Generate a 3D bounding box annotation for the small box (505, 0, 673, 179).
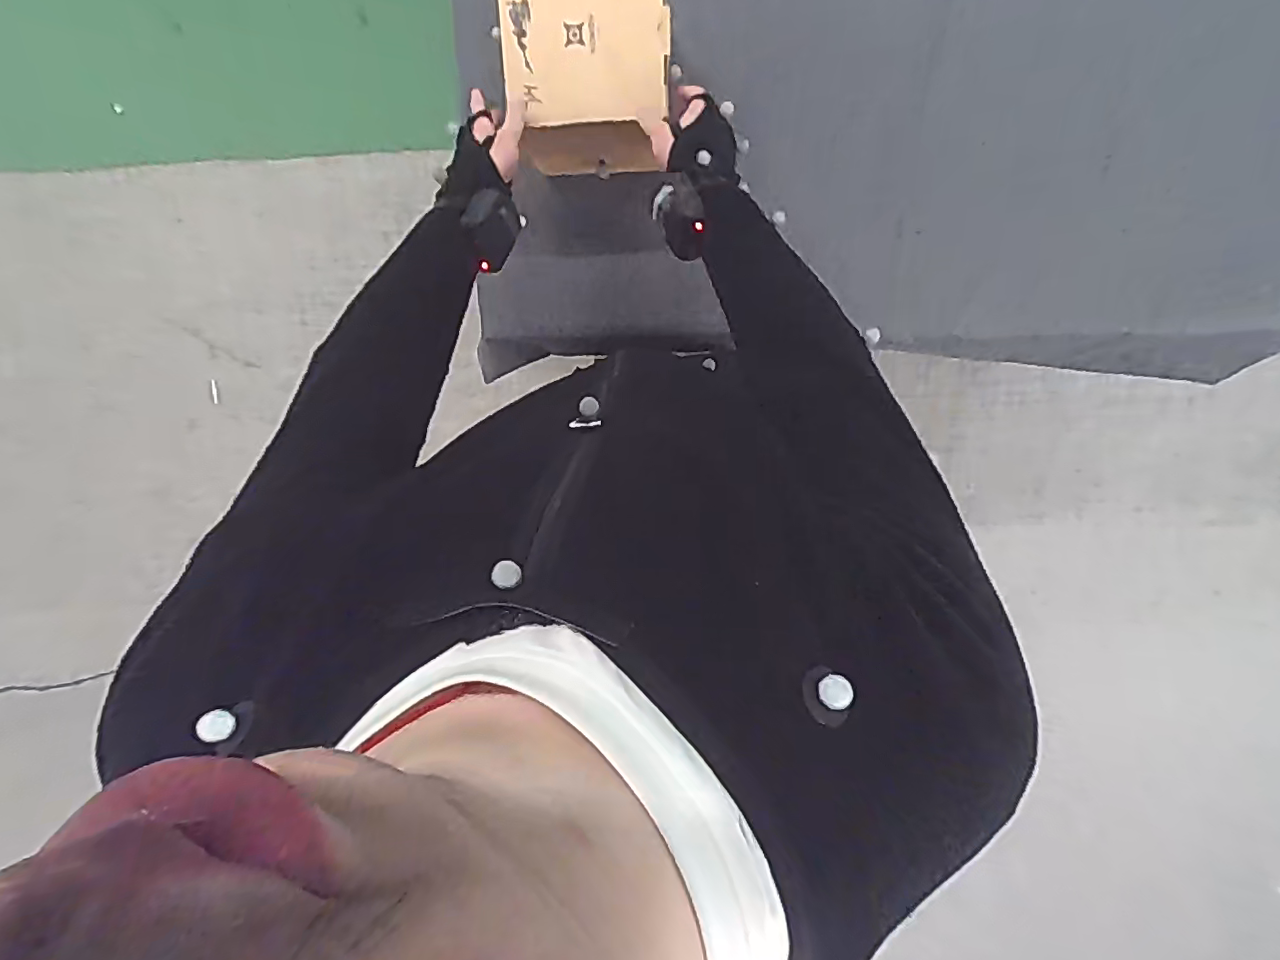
[{"bbox_3d":[-0.052,-0.476,0.649,0.179,0.176,0.168,-1,104,2],"label":"small box"}]
